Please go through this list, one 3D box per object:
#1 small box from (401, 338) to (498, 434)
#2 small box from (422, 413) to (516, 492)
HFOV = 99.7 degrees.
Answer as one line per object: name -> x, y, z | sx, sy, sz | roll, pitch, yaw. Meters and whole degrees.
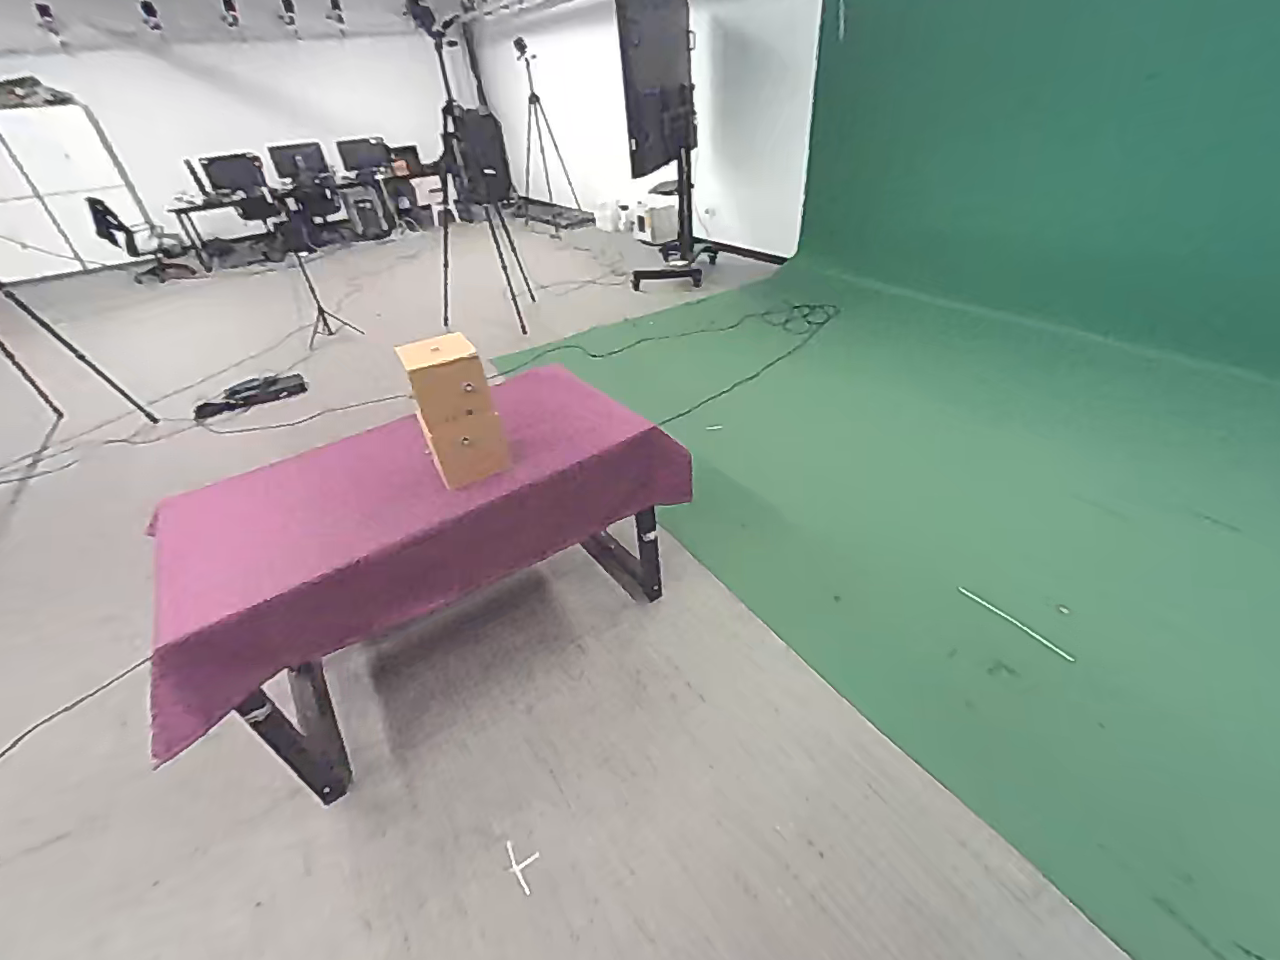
small box -> -0.469, -0.229, 1.339 | 0.168, 0.176, 0.179 | -22, 38, -20
small box -> -0.448, -0.094, 1.428 | 0.179, 0.176, 0.168 | -23, 39, -21
